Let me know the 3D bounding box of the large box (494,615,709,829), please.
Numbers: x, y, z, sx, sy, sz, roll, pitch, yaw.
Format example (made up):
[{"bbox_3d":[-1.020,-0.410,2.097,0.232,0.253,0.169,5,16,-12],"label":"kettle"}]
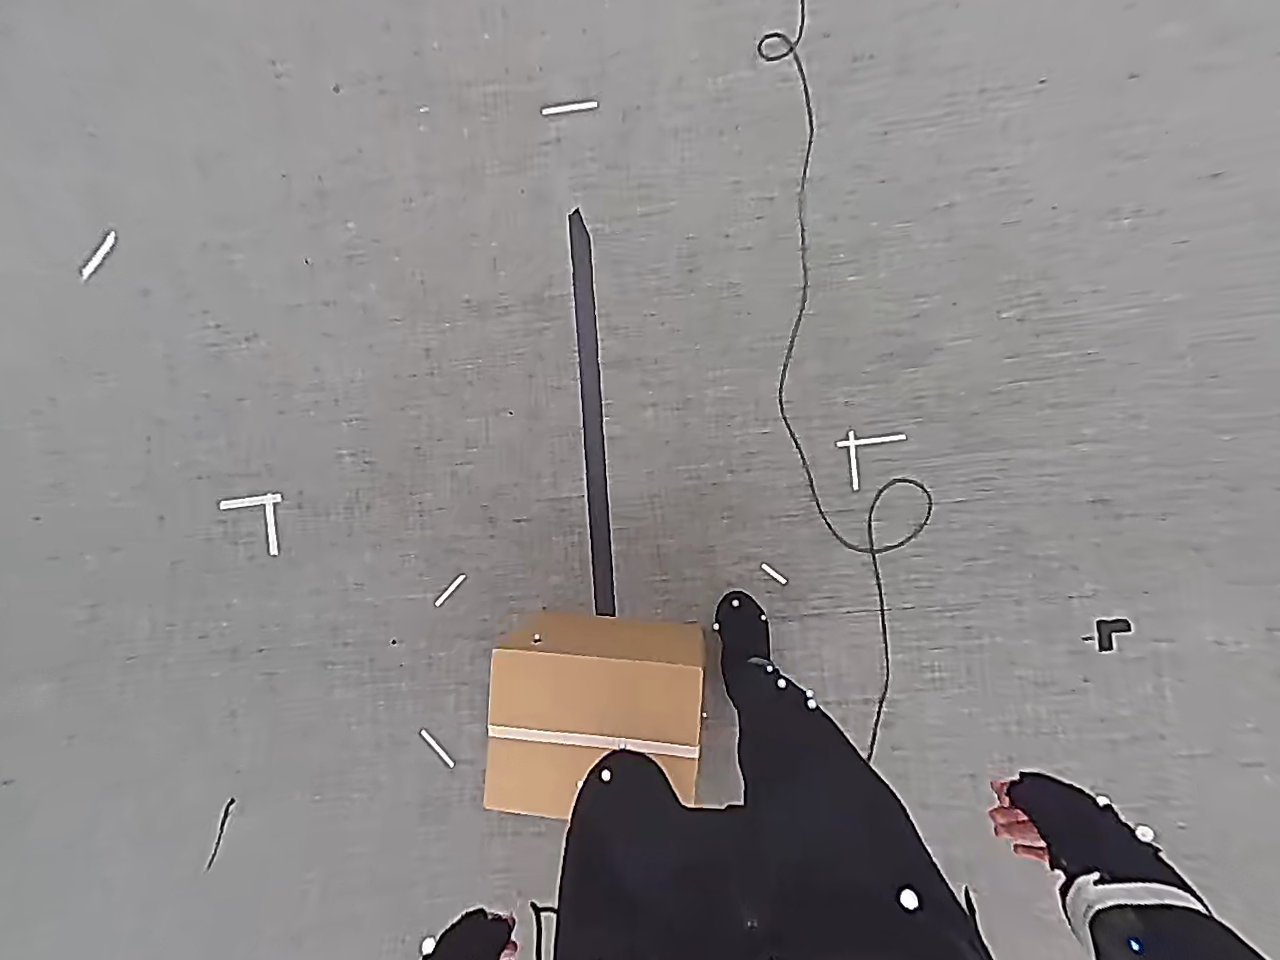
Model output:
[{"bbox_3d":[-0.063,0.484,1.160,0.408,0.320,0.320,3,91,6],"label":"large box"}]
